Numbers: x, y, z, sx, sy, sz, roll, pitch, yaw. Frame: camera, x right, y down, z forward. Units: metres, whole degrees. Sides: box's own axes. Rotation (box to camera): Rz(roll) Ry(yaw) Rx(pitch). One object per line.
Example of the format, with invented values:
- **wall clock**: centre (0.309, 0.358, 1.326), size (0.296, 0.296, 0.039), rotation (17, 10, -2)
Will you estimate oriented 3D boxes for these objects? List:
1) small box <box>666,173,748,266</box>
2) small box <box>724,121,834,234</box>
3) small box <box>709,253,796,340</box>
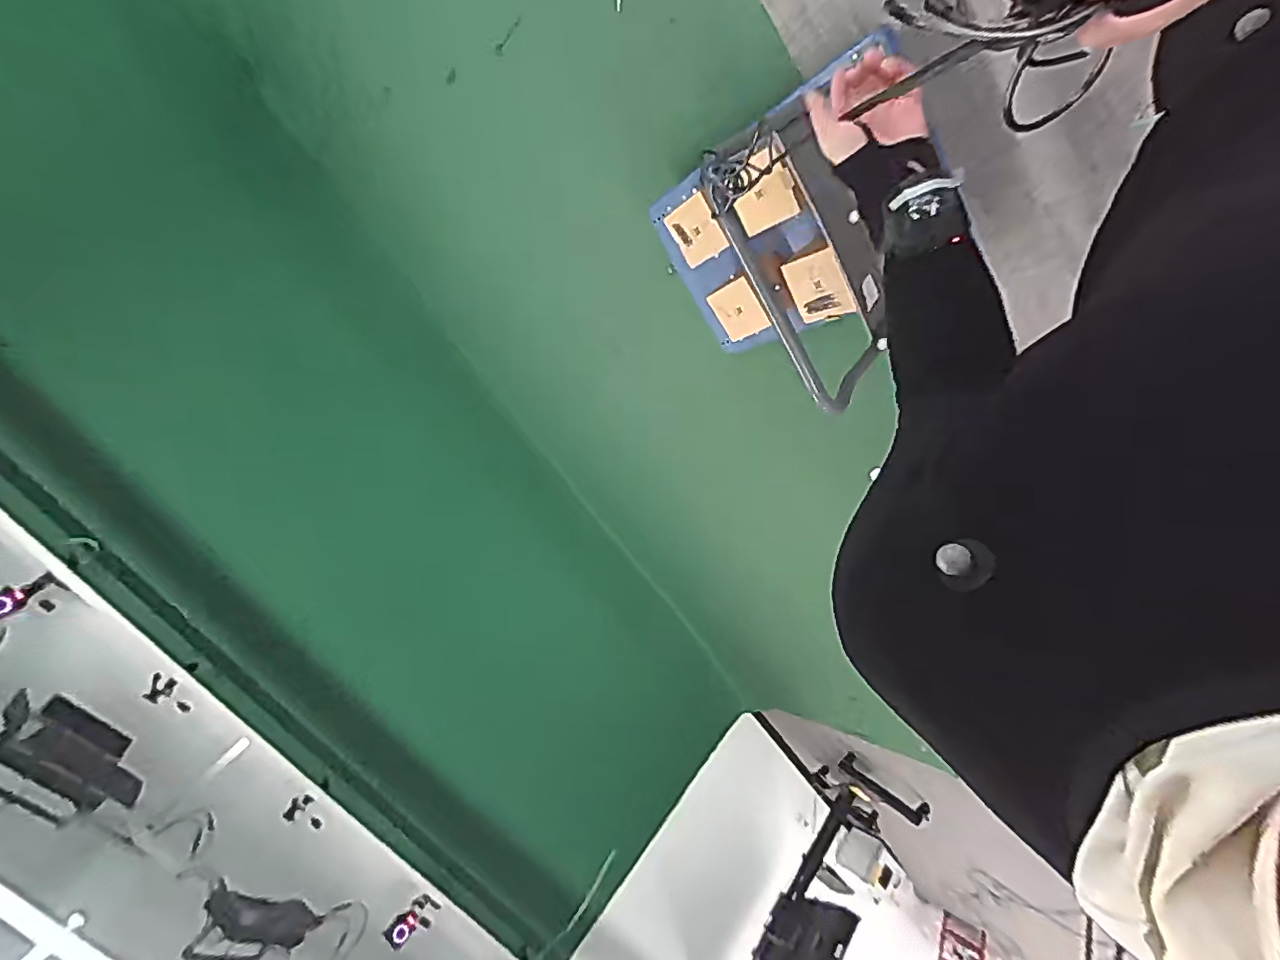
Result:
- **small box**: centre (0.215, -0.763, 1.575), size (0.168, 0.176, 0.179), rotation (54, 152, -18)
- **small box**: centre (0.354, -0.764, 1.372), size (0.179, 0.176, 0.168), rotation (0, 129, 55)
- **small box**: centre (0.353, -0.565, 1.659), size (0.168, 0.176, 0.179), rotation (55, 153, -16)
